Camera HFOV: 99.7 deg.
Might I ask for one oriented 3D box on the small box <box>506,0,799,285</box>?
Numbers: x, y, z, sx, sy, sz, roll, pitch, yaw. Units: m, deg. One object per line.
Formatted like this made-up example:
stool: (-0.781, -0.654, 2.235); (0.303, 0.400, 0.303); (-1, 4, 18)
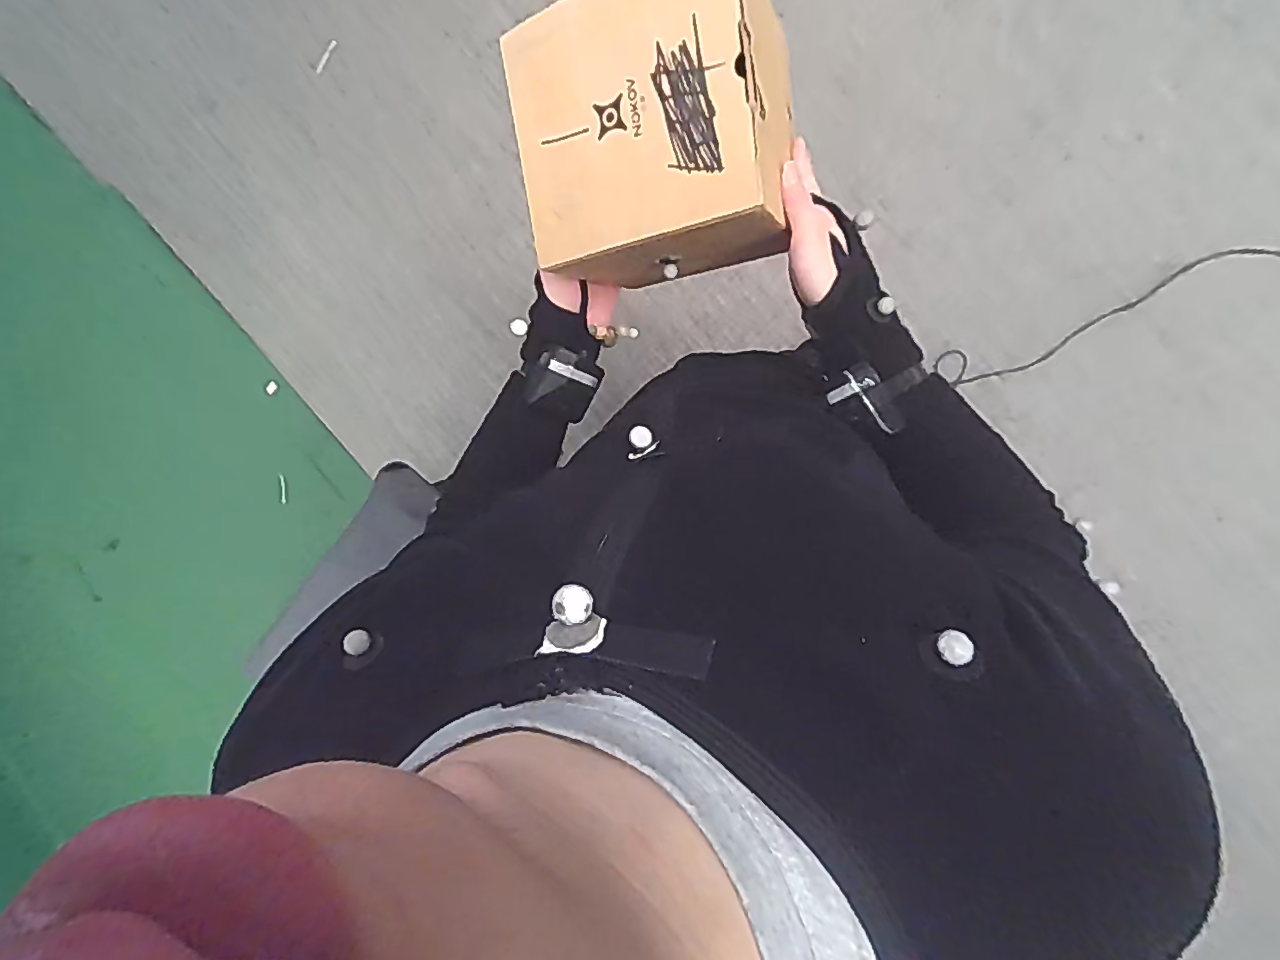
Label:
small box: (0.026, -0.264, 0.435); (0.179, 0.176, 0.168); (-3, 101, 27)
